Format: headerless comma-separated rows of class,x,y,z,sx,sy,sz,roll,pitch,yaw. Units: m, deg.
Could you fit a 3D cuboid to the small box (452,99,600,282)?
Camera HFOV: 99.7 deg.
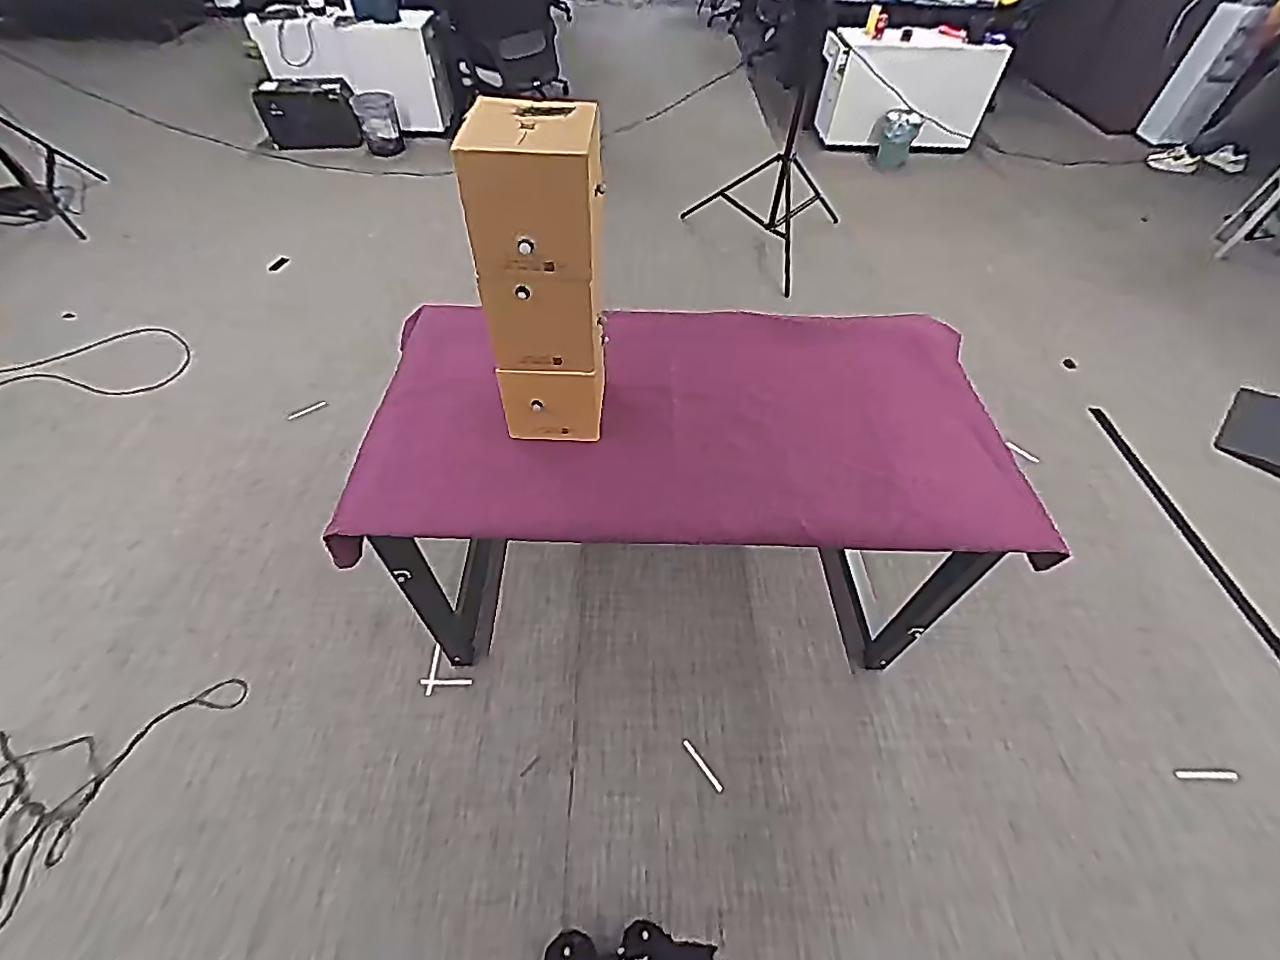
small box,-0.143,-0.400,0.752,0.168,0.176,0.179,2,52,-1

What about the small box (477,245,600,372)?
small box,-0.152,-0.299,0.882,0.168,0.176,0.179,1,50,-1

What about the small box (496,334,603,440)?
small box,-0.157,-0.191,1.005,0.168,0.176,0.179,2,51,-1
